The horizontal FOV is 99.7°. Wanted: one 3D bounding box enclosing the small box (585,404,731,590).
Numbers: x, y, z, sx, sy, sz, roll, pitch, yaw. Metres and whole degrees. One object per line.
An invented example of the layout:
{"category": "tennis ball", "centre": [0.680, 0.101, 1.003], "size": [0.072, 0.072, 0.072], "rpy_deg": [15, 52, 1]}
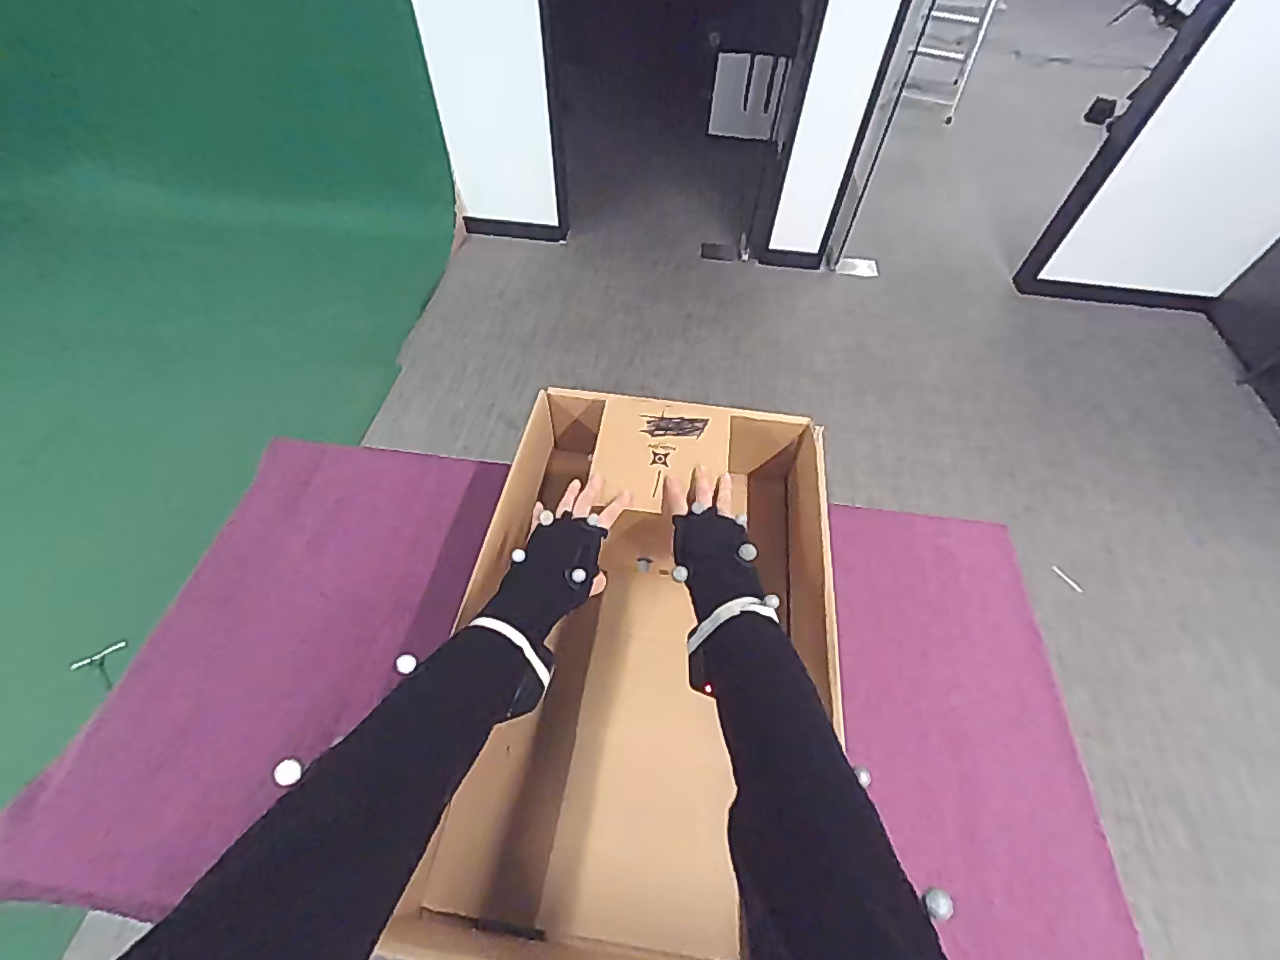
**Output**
{"category": "small box", "centre": [0.025, 0.026, 0.728], "size": [0.168, 0.176, 0.179], "rpy_deg": [7, 55, 3]}
